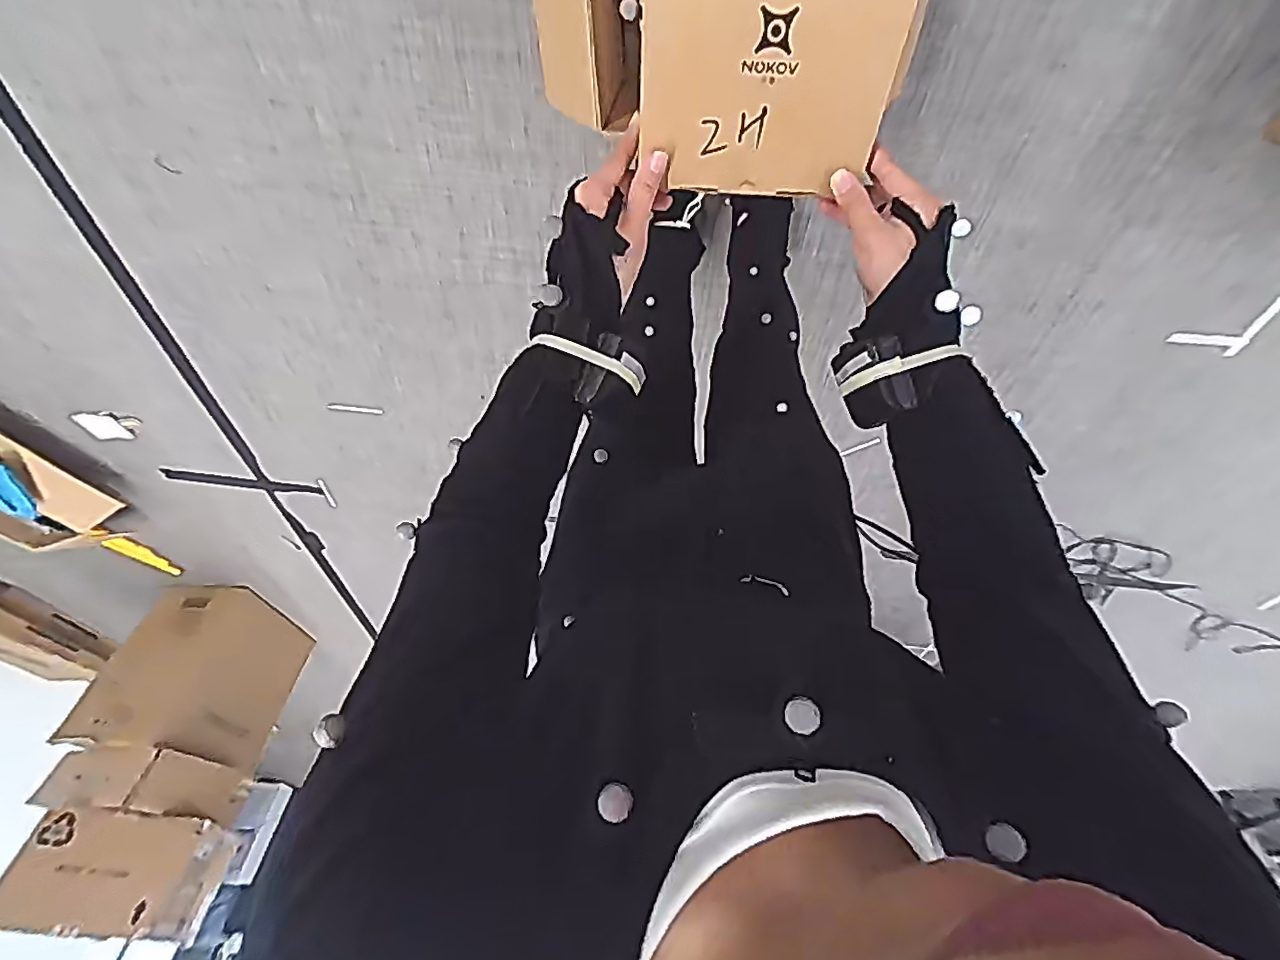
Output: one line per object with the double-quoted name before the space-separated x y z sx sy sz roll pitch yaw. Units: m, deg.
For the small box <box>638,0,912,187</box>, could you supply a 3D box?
"small box" 0.085 -0.340 0.393 0.168 0.176 0.179 3 138 0
